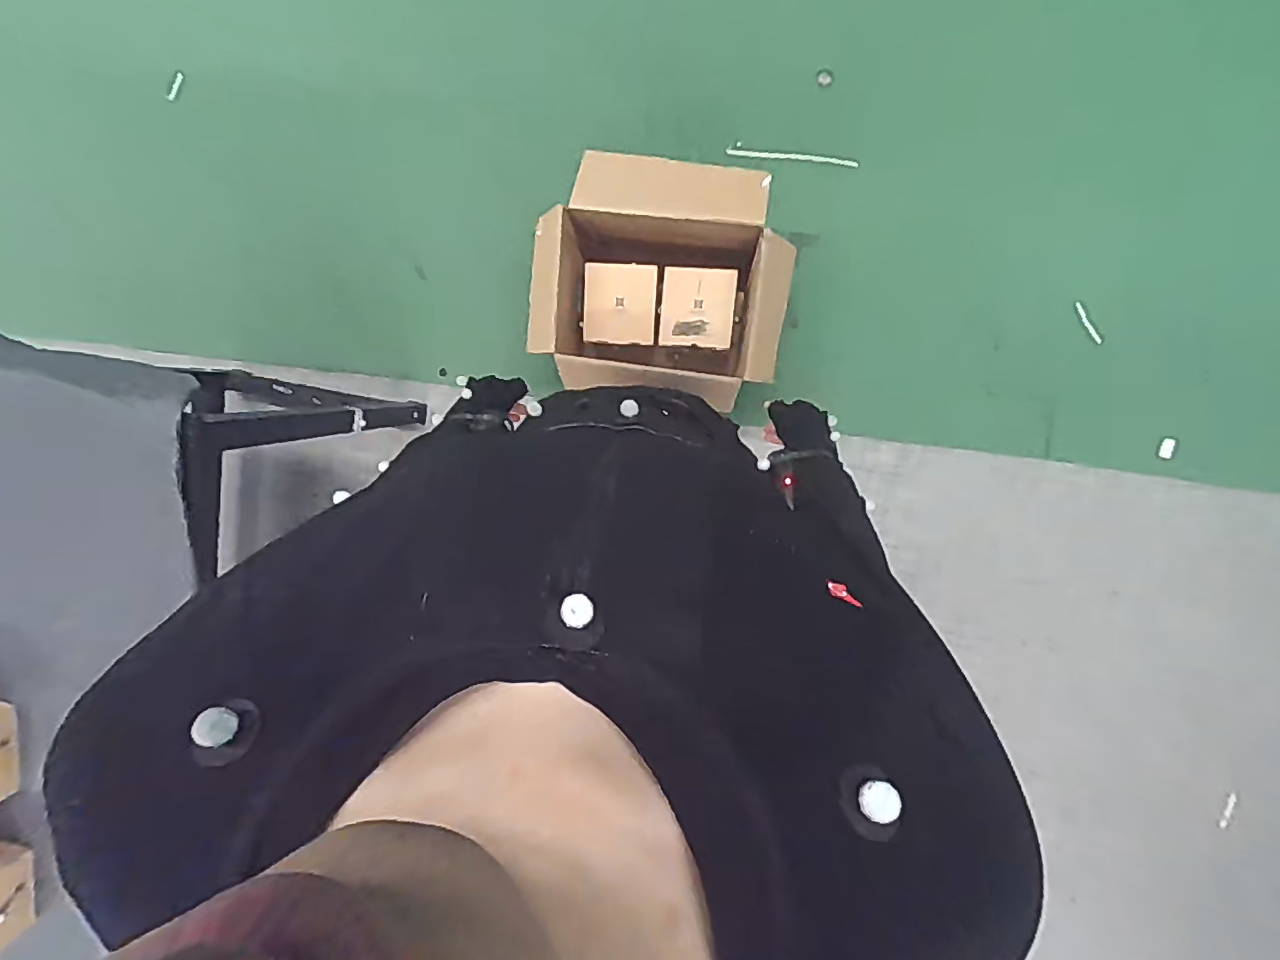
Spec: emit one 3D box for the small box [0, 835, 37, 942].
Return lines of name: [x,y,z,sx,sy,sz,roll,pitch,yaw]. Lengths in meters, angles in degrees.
small box: [-1.168,0.711,0.890,0.179,0.176,0.168,10,101,3]
